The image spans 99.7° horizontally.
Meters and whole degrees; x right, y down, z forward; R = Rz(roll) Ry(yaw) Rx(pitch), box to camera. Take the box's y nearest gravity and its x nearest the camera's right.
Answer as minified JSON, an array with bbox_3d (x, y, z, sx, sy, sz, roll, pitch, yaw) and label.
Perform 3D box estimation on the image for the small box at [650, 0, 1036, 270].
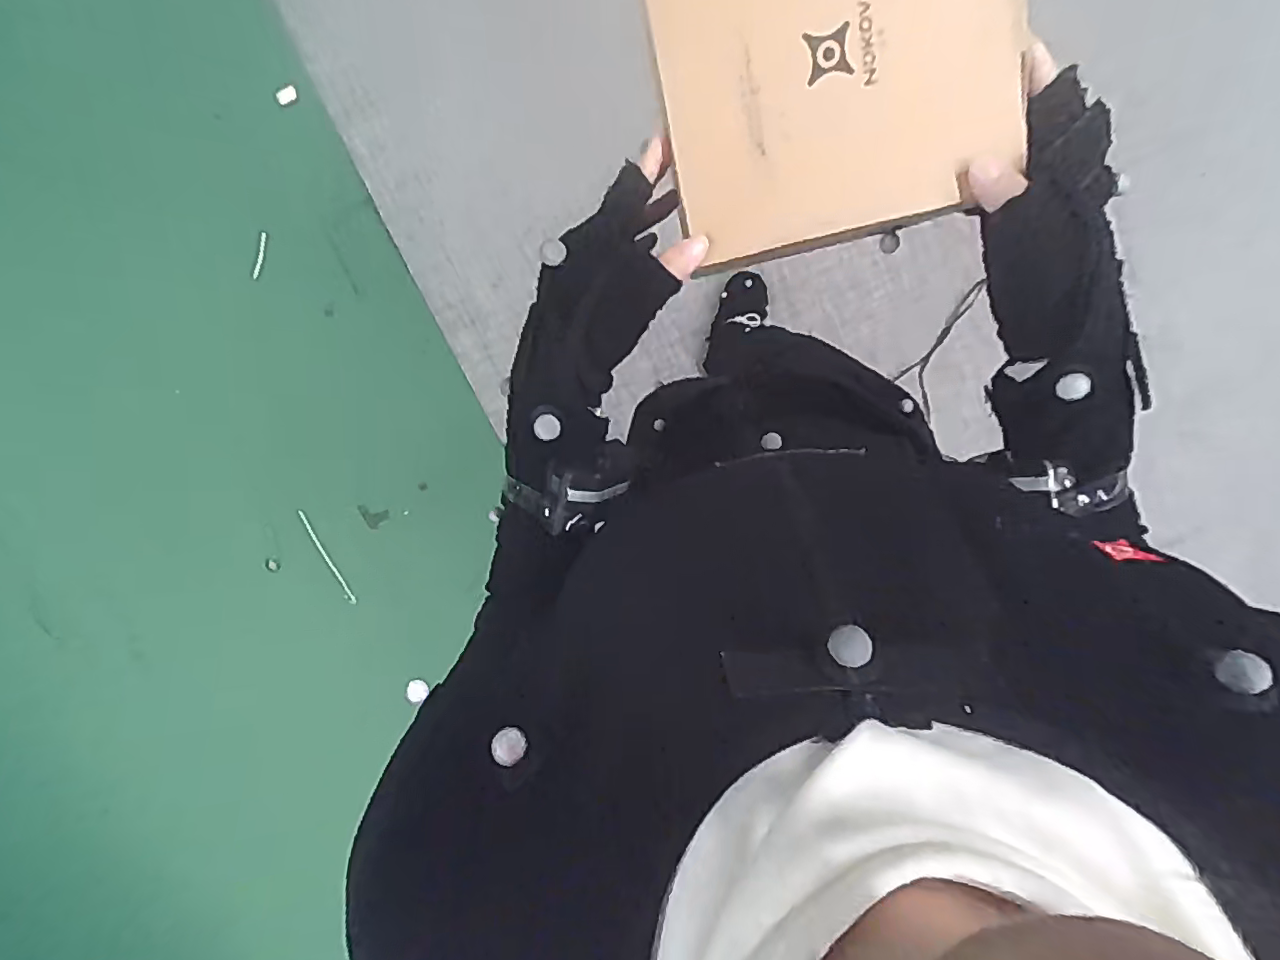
[{"bbox_3d":[0.106,-0.241,0.340,0.179,0.176,0.168,-12,106,9],"label":"small box"}]
